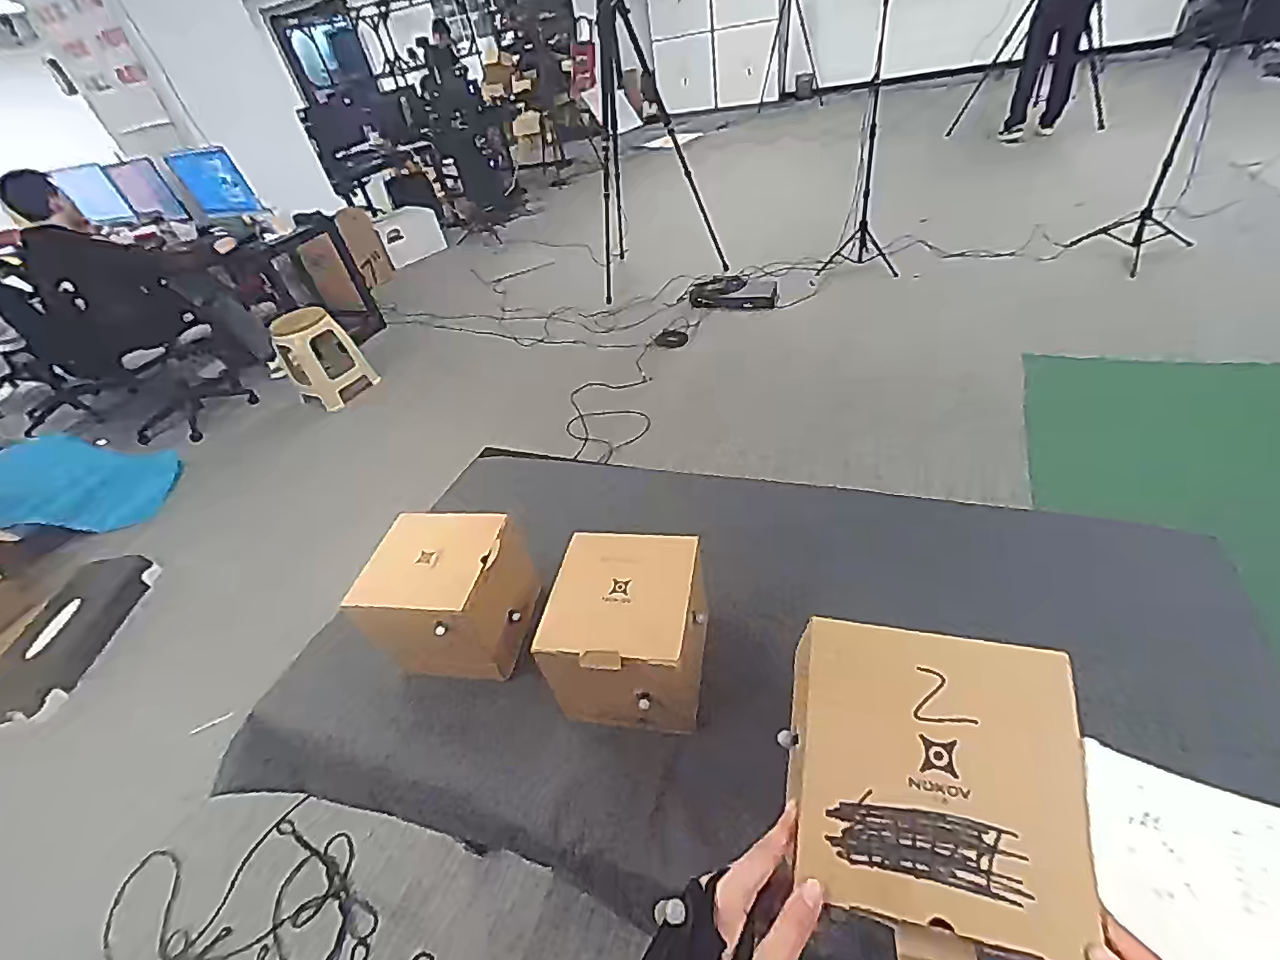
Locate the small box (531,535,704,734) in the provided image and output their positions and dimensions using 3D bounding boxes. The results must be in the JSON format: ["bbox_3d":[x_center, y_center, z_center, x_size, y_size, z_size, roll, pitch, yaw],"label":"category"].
[{"bbox_3d":[-0.012,0.191,0.675,0.168,0.176,0.179,1,41,13],"label":"small box"}]

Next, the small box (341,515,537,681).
[{"bbox_3d":[-0.268,0.166,0.768,0.179,0.176,0.168,0,41,12],"label":"small box"}]
